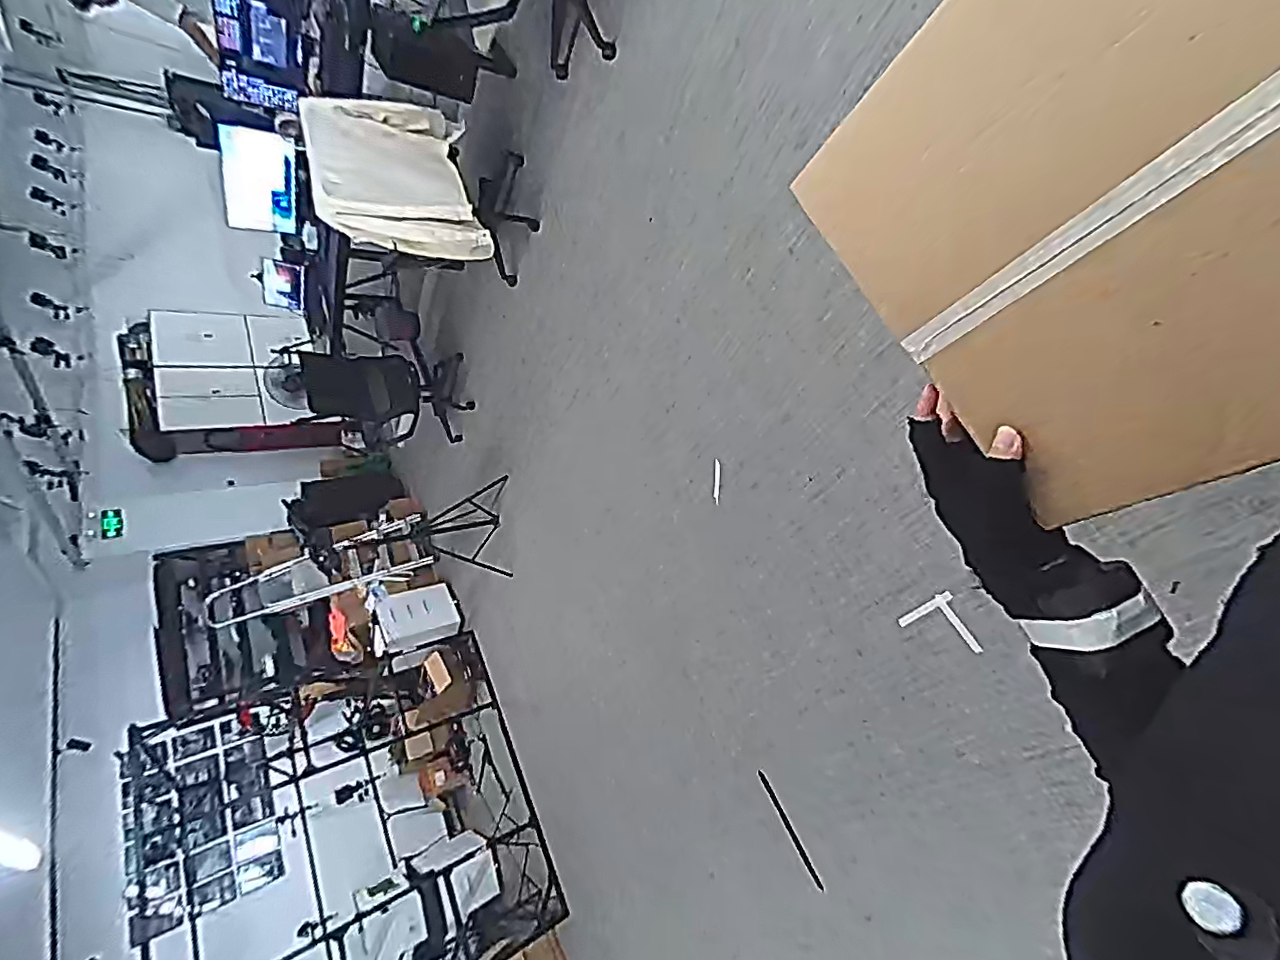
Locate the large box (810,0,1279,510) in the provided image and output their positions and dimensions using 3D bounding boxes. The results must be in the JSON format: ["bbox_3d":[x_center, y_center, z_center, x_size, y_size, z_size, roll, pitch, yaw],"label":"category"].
[{"bbox_3d":[0.404,-0.238,0.341,0.320,0.320,0.408,56,142,6],"label":"large box"}]
